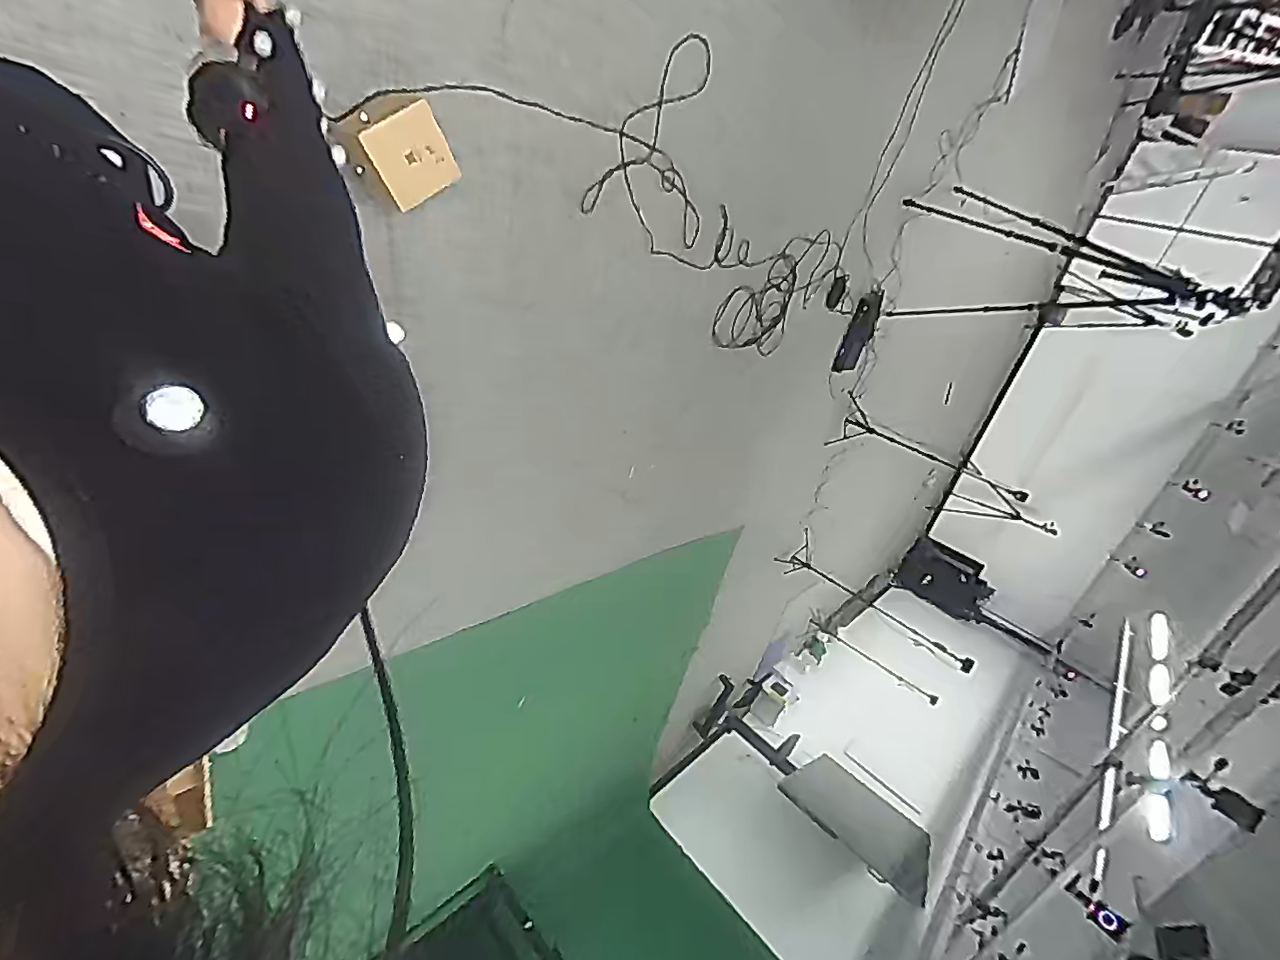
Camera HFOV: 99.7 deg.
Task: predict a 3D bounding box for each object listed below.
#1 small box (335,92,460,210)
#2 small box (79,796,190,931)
[{"bbox_3d":[-0.547,-0.738,1.211,0.179,0.176,0.168,-44,144,-17],"label":"small box"},{"bbox_3d":[-1.235,0.927,1.324,0.168,0.176,0.179,-17,126,-42],"label":"small box"}]
